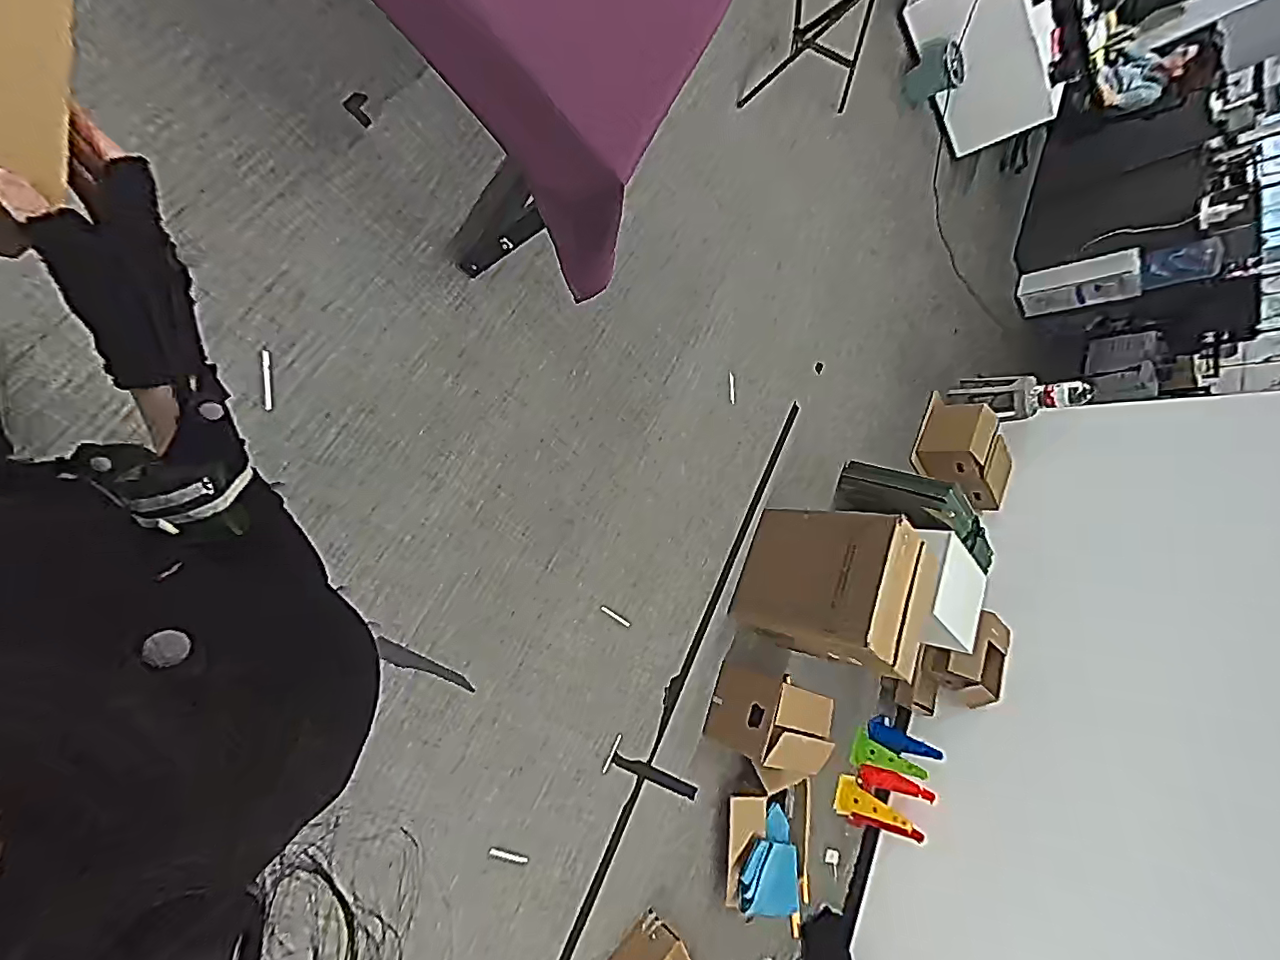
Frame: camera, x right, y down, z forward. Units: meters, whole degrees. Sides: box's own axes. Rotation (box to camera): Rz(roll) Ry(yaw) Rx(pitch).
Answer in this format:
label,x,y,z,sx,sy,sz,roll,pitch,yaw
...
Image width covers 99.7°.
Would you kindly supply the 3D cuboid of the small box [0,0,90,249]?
label,x,y,z,sx,sy,sz,roll,pitch,yaw
small box,-0.427,-0.244,0.282,0.168,0.176,0.179,3,94,-57
